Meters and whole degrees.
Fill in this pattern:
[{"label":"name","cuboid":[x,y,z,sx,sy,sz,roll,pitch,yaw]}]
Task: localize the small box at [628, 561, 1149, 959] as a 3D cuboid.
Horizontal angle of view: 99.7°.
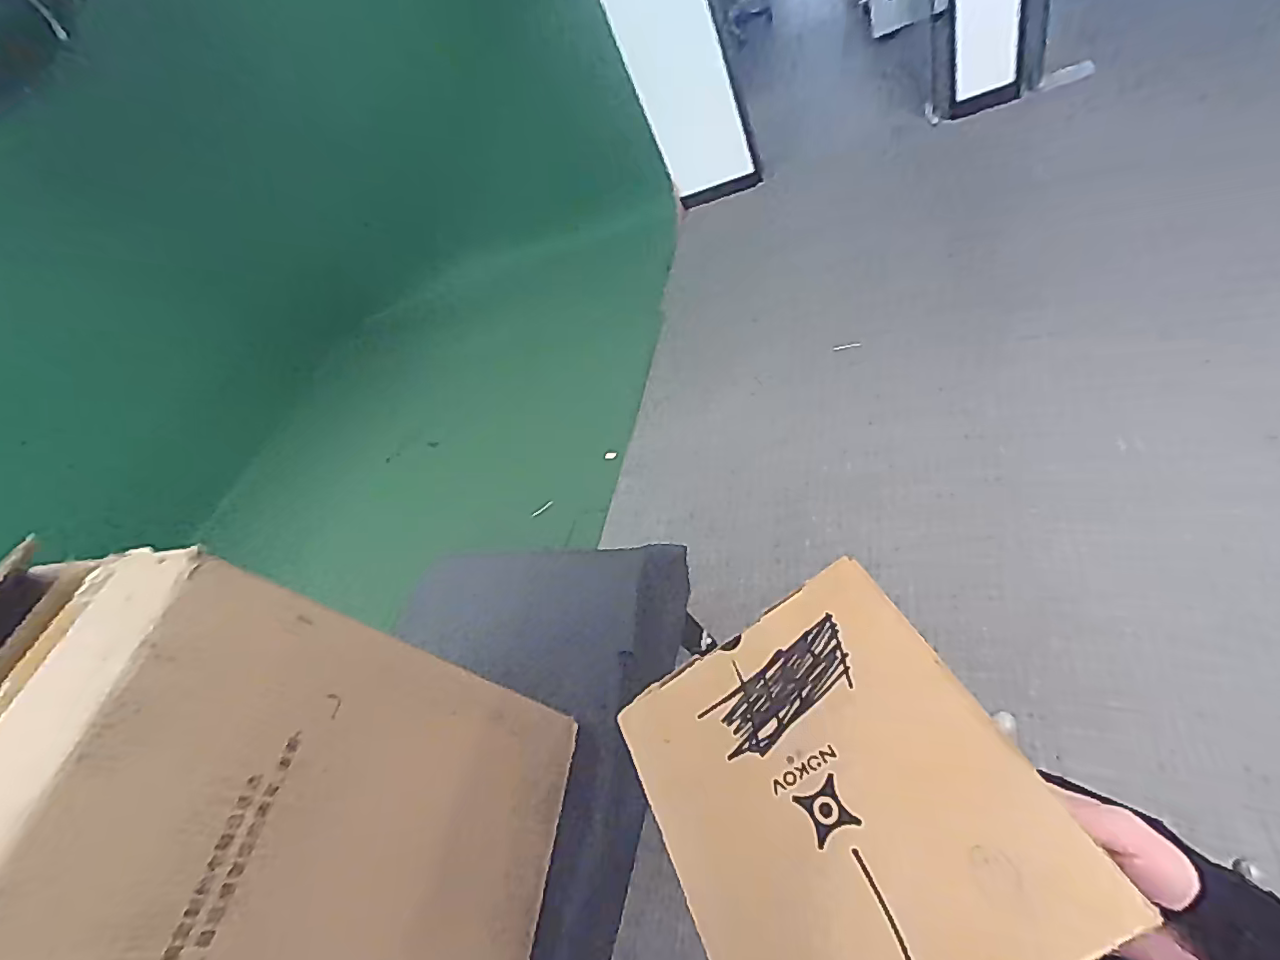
[{"label":"small box","cuboid":[0.125,0.185,0.318,0.168,0.176,0.179,-37,48,8]}]
